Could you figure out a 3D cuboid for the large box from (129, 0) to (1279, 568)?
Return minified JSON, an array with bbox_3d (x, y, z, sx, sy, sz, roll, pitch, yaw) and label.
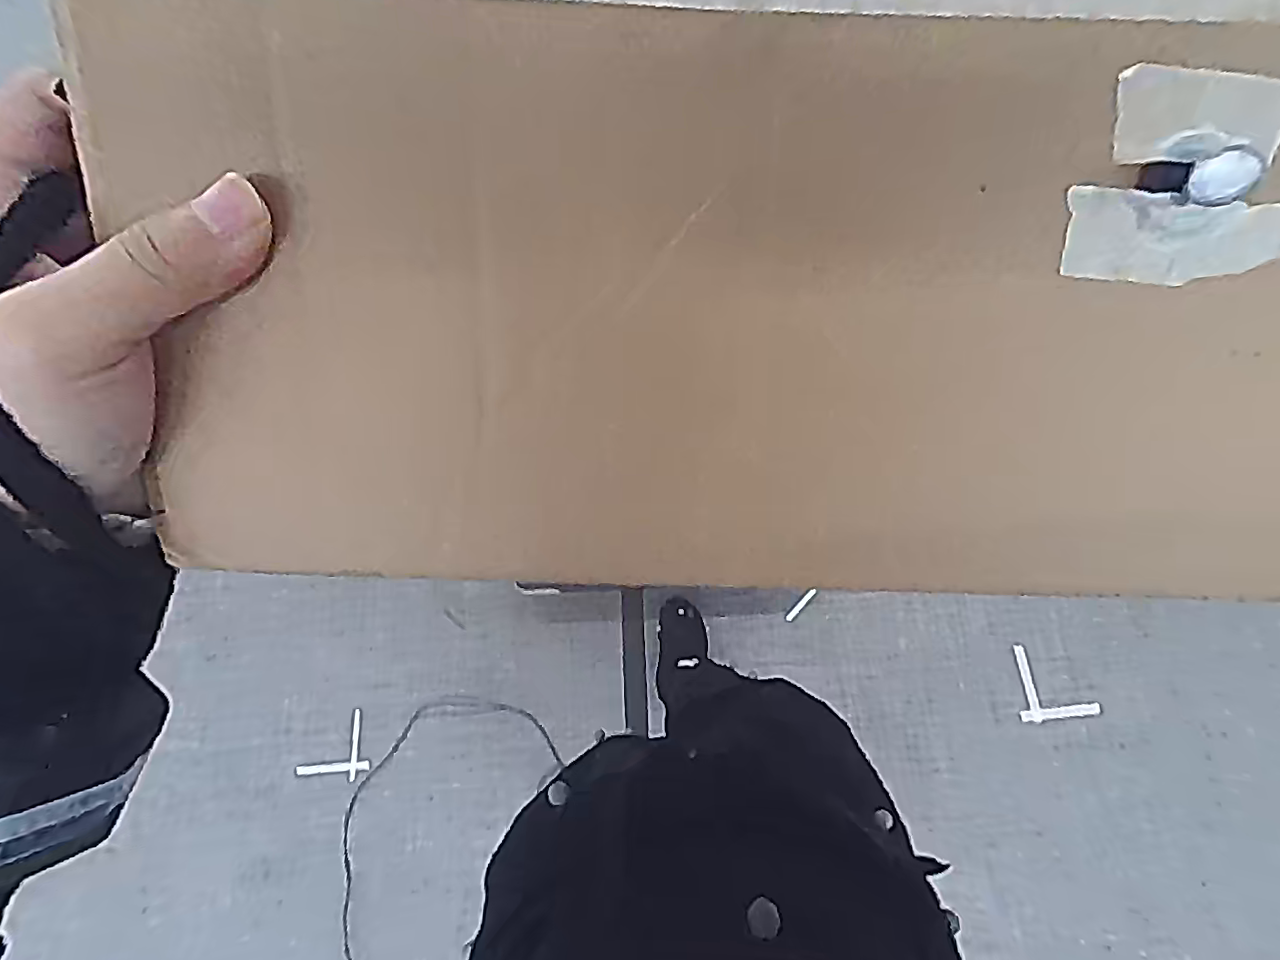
[{"bbox_3d":[0.066,-0.154,0.285,0.408,0.320,0.320,1,104,-2],"label":"large box"}]
